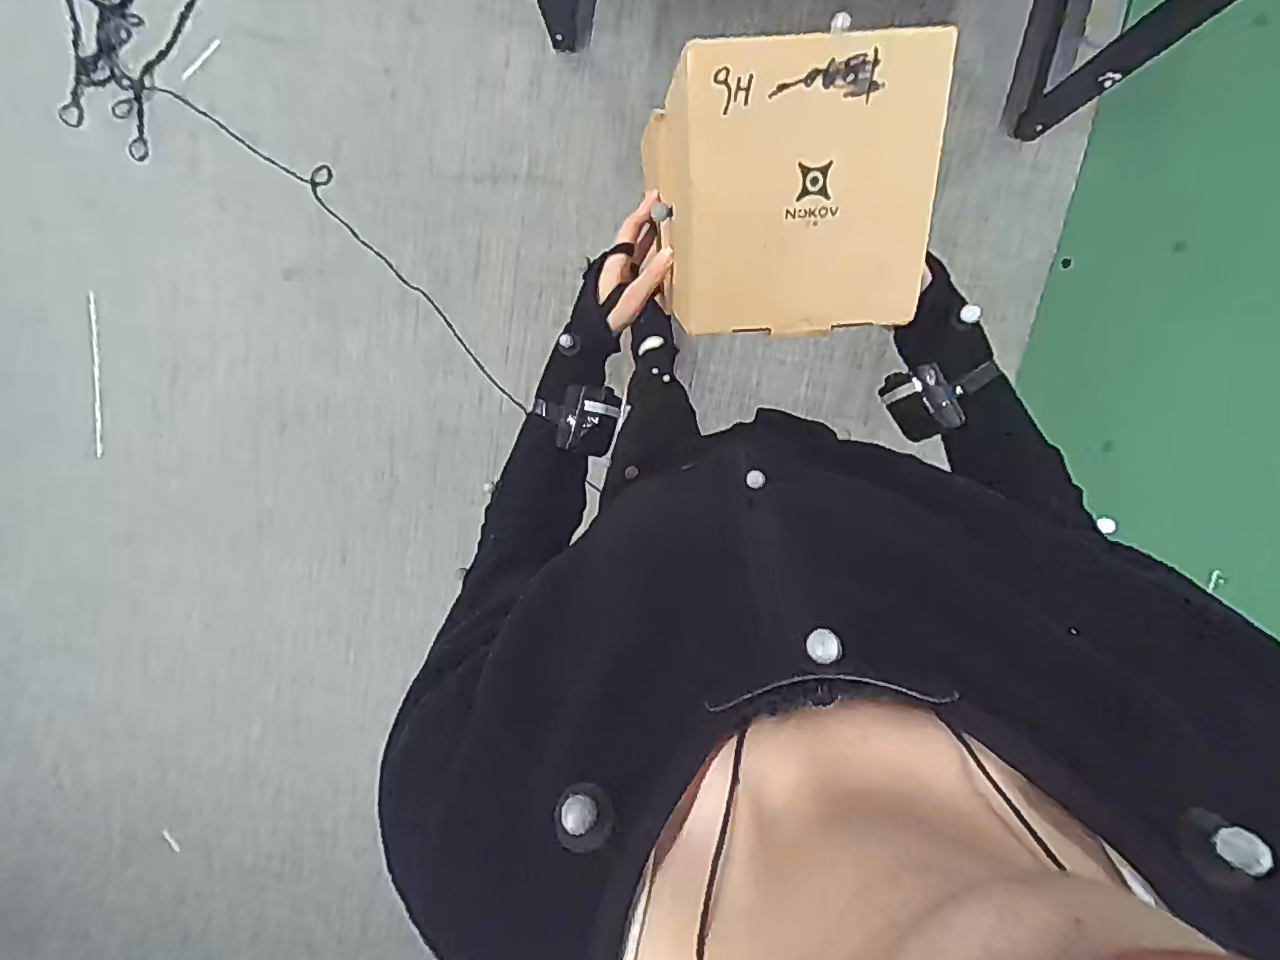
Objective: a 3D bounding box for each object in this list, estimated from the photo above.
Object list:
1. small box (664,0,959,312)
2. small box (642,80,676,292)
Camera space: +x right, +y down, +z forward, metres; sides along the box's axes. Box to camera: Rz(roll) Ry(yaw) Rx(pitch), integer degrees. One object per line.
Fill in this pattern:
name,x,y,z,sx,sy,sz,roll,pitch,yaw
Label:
small box,0.107,-0.237,0.424,0.168,0.176,0.179,-3,115,0
small box,0.092,-0.304,0.575,0.168,0.176,0.179,-5,115,0
